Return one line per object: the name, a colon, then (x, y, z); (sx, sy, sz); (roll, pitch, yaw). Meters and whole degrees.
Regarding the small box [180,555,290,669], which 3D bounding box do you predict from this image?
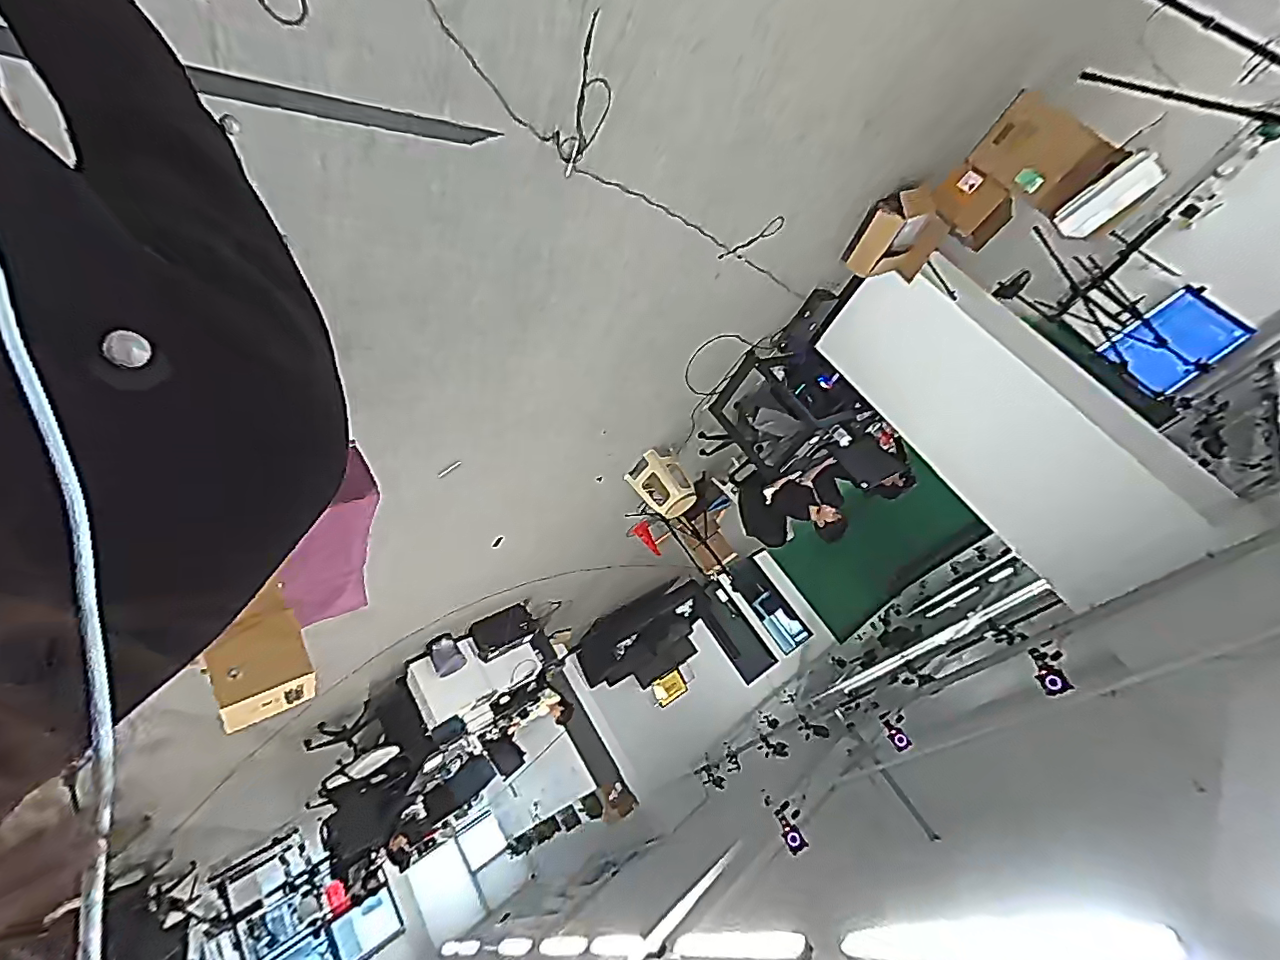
small box: (-0.943, 0.303, 1.260); (0.179, 0.176, 0.168); (-17, 153, -42)
